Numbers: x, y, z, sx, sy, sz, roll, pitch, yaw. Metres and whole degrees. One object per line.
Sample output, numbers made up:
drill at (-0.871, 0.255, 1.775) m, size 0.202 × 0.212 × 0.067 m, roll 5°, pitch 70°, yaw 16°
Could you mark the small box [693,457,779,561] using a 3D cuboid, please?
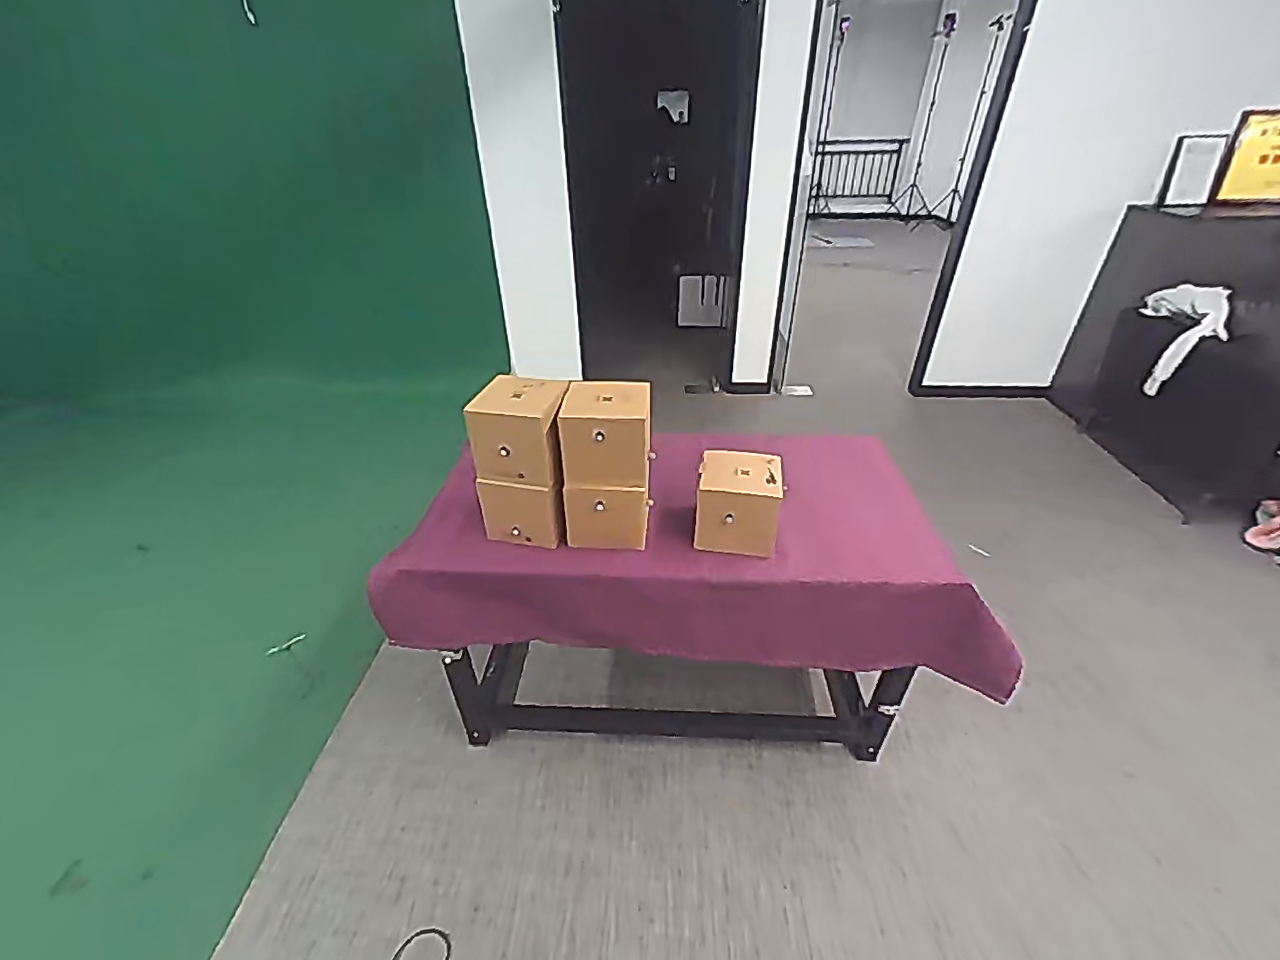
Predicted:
small box at (0.213, 0.065, 1.215) m, size 0.179 × 0.176 × 0.168 m, roll 5°, pitch 34°, yaw 9°
